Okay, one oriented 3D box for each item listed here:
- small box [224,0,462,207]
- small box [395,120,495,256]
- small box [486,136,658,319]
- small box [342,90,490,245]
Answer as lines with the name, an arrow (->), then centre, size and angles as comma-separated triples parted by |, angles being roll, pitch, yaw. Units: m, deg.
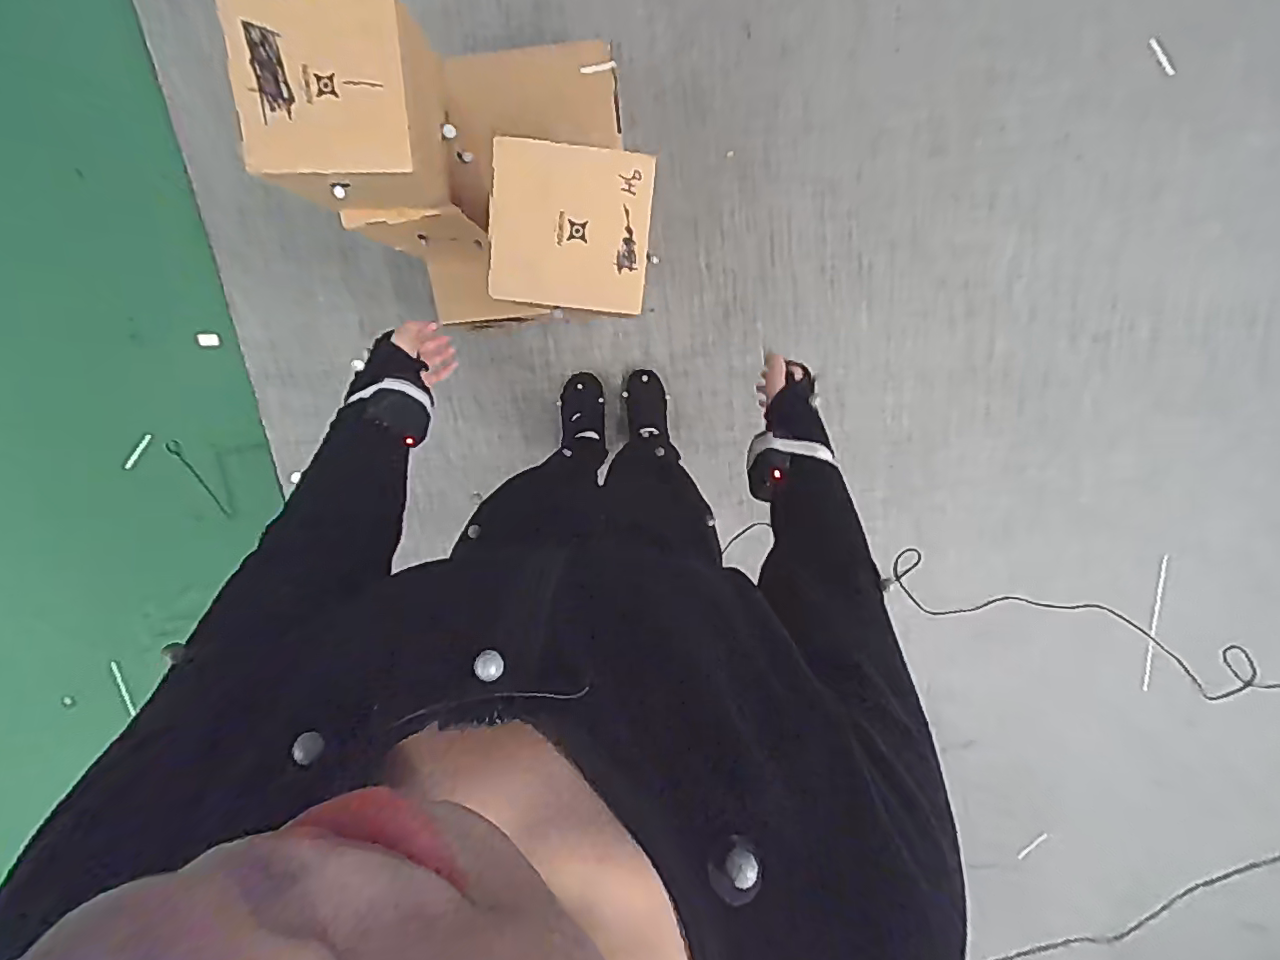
small box -> -0.324, -0.423, 0.626 | 0.179, 0.176, 0.168 | -1, 105, -2
small box -> -0.329, -0.499, 0.945 | 0.179, 0.176, 0.168 | -7, 104, 1
small box -> -0.077, -0.294, 0.668 | 0.179, 0.176, 0.168 | 7, 105, -3
small box -> -0.328, -0.456, 0.788 | 0.168, 0.176, 0.179 | -6, 106, 0
